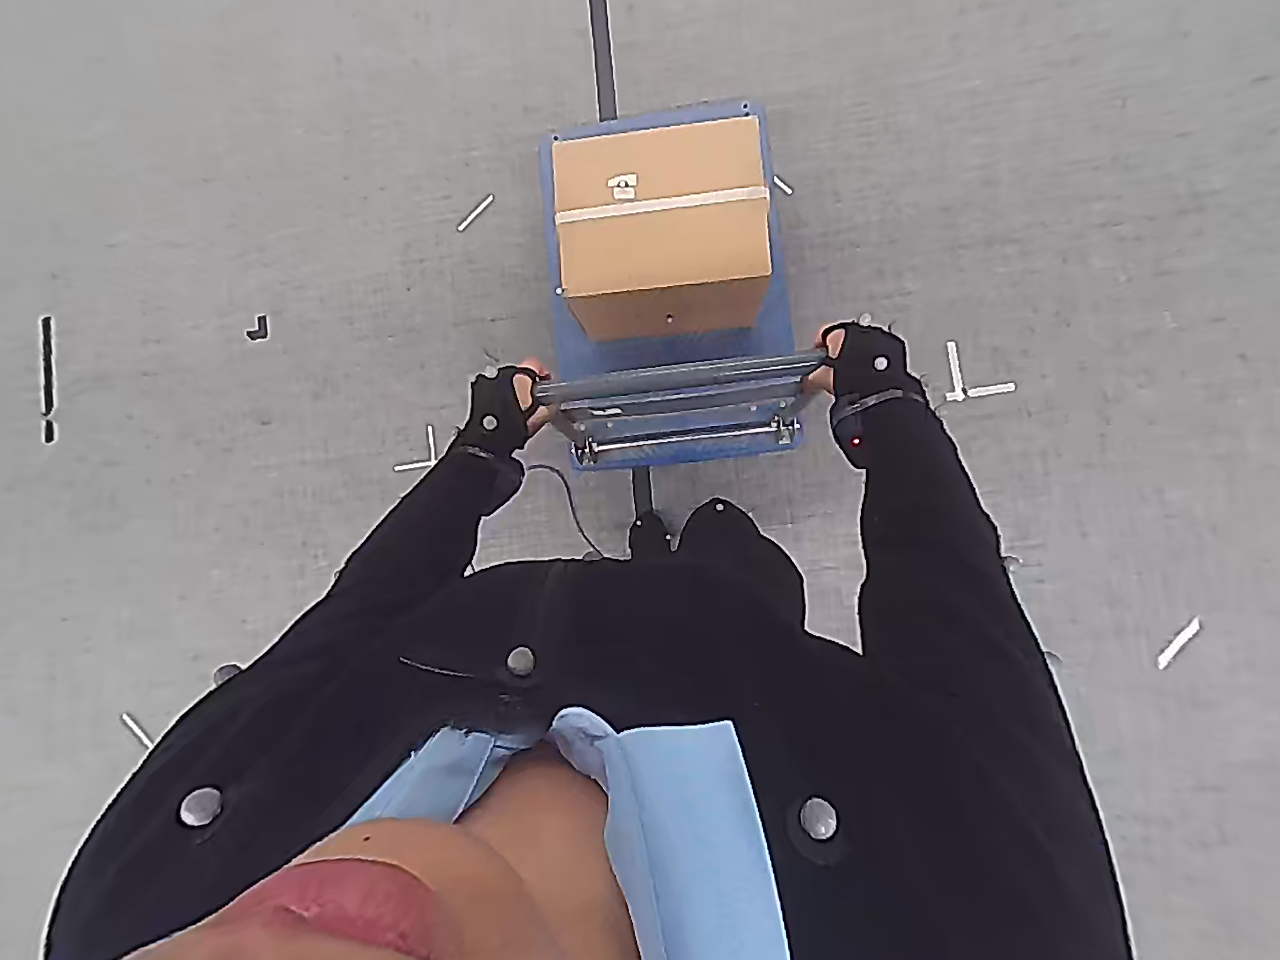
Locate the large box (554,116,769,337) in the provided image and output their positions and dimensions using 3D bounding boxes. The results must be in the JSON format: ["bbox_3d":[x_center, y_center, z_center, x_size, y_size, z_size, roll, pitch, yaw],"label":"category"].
[{"bbox_3d":[0.054,-0.528,1.201,0.408,0.320,0.320,-5,87,6],"label":"large box"}]
